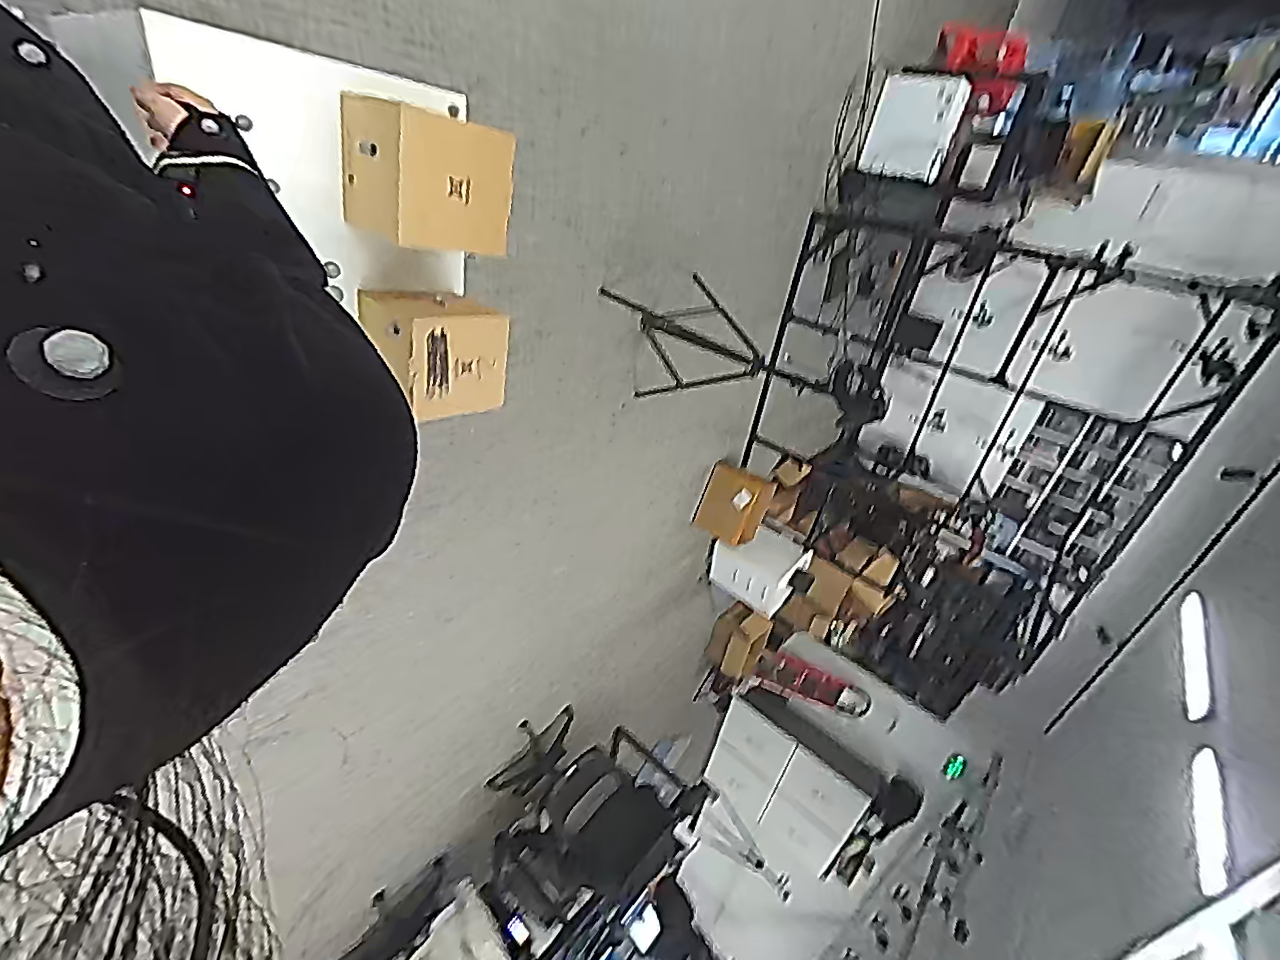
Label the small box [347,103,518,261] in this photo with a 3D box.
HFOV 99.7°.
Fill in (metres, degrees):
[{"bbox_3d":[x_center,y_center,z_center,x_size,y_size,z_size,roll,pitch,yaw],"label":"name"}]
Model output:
[{"bbox_3d":[-0.306,-0.430,0.787,0.179,0.176,0.168,-19,131,-48],"label":"small box"}]
